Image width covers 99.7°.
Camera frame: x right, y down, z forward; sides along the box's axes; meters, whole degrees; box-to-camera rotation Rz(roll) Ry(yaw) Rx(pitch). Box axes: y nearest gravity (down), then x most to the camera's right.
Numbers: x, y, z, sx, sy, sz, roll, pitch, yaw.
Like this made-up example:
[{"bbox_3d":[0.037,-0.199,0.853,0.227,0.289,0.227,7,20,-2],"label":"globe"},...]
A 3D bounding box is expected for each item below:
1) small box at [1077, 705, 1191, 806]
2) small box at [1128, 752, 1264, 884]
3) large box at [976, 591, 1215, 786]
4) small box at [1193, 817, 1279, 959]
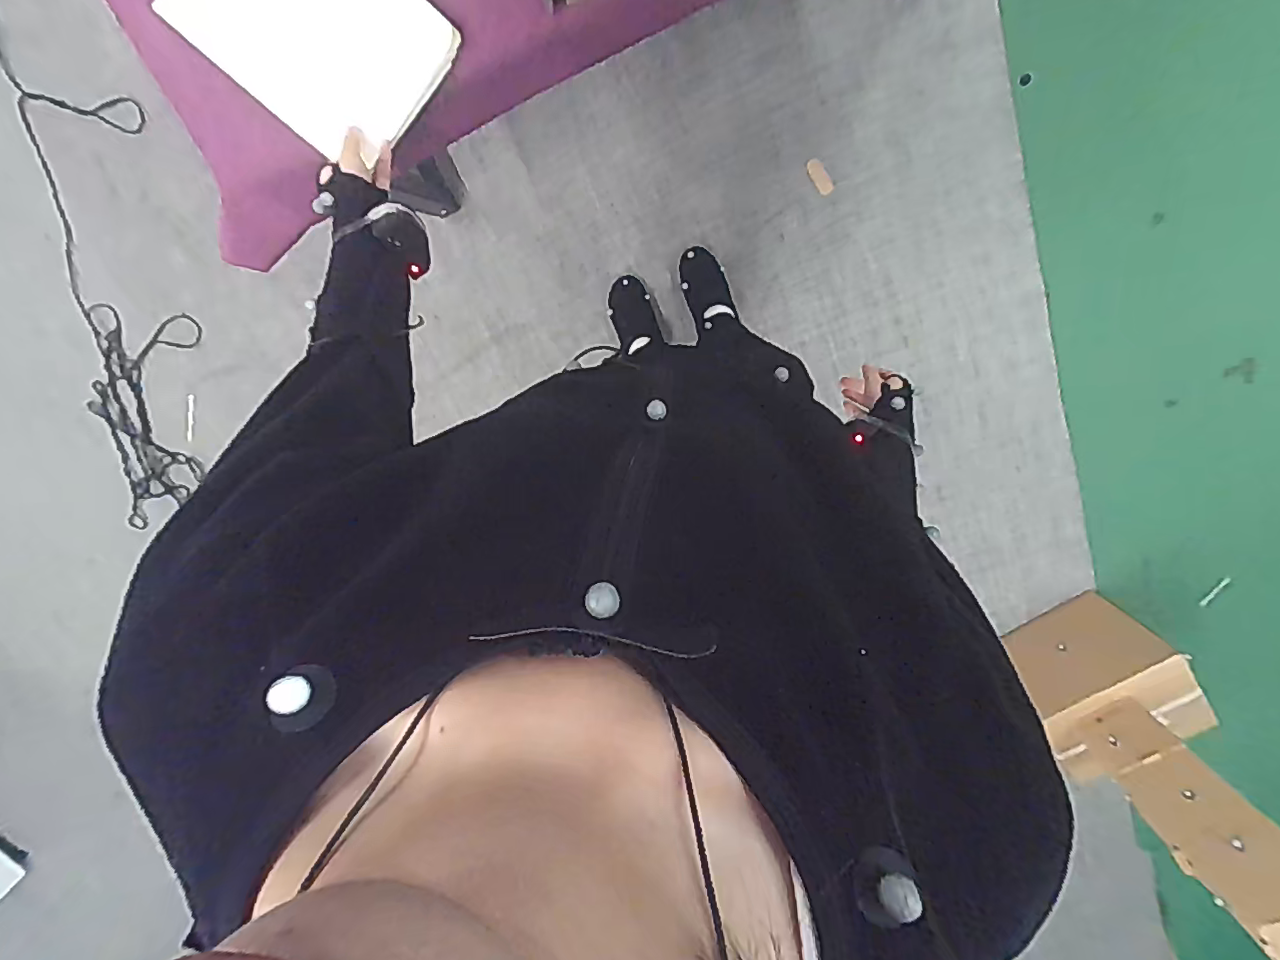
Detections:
[{"bbox_3d":[1.303,0.720,1.413,0.168,0.176,0.179,-35,107,13],"label":"small box"},{"bbox_3d":[1.302,0.783,1.262,0.179,0.176,0.168,-37,106,13],"label":"small box"},{"bbox_3d":[1.345,0.617,1.635,0.408,0.320,0.320,-37,108,12],"label":"large box"},{"bbox_3d":[1.304,0.843,1.109,0.179,0.176,0.168,-36,107,14],"label":"small box"}]
